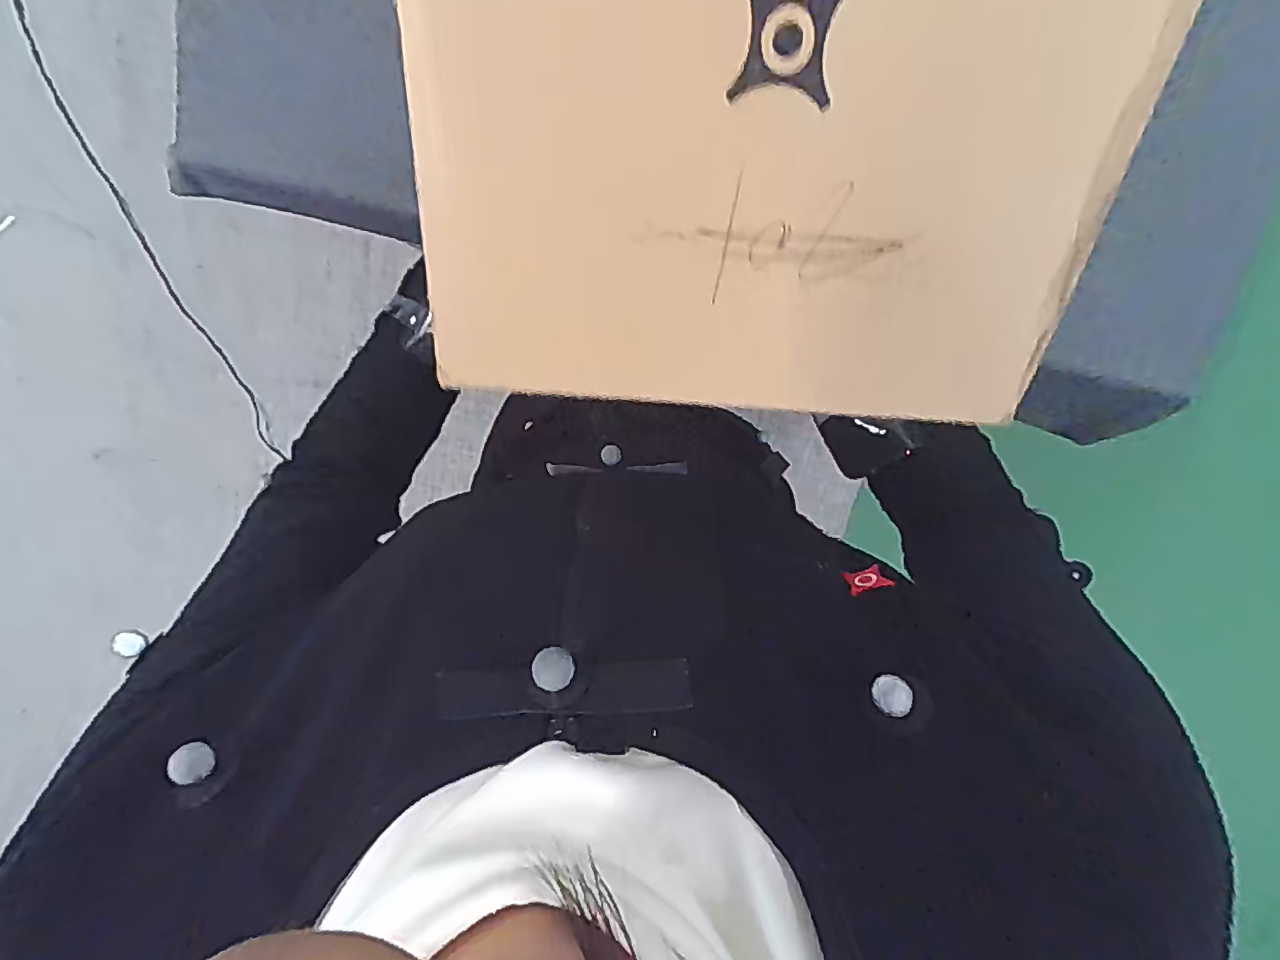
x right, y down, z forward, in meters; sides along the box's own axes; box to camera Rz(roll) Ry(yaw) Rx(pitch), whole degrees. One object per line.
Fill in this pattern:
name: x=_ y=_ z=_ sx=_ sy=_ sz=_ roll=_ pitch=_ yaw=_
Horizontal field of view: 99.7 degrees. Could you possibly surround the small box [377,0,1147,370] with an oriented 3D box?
small box: x=0.027 y=-0.152 z=0.181 sx=0.168 sy=0.176 sz=0.179 roll=4 pitch=120 yaw=-1
